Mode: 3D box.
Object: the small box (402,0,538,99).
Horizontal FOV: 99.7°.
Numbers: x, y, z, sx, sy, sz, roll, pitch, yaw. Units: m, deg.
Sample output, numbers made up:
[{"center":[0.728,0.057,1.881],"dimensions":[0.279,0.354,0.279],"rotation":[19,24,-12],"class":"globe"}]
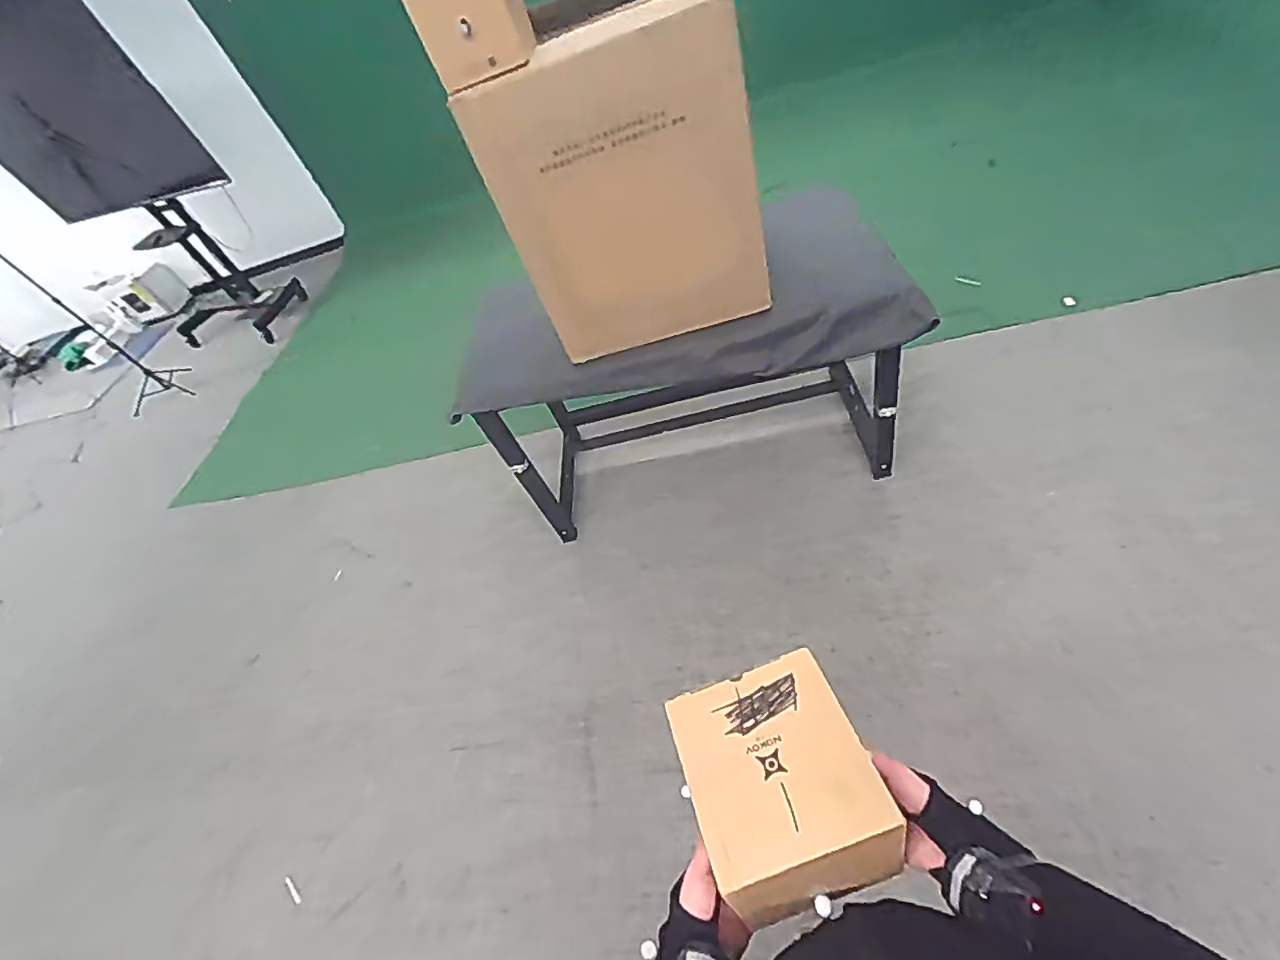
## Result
[{"center":[-0.300,-0.835,0.991],"dimensions":[0.168,0.176,0.179],"rotation":[-13,48,11],"class":"small box"}]
